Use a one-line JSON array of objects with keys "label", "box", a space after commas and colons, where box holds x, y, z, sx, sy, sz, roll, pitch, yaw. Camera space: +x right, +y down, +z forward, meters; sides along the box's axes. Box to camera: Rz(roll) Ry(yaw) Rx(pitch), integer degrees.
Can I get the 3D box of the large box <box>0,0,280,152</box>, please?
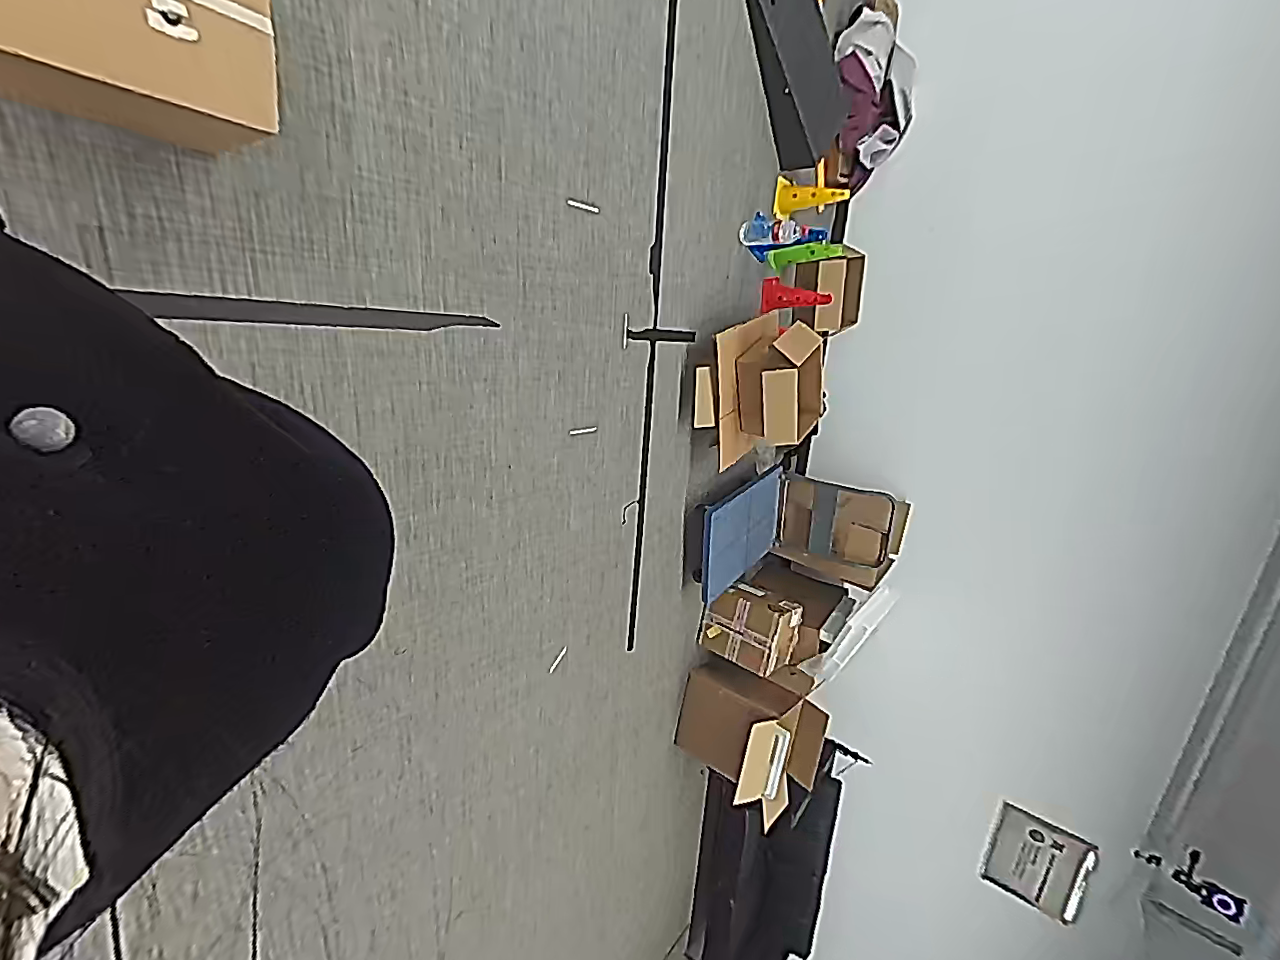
[{"label": "large box", "box": [-0.850, -0.750, 0.827, 0.408, 0.320, 0.320, -14, 114, -52]}]
